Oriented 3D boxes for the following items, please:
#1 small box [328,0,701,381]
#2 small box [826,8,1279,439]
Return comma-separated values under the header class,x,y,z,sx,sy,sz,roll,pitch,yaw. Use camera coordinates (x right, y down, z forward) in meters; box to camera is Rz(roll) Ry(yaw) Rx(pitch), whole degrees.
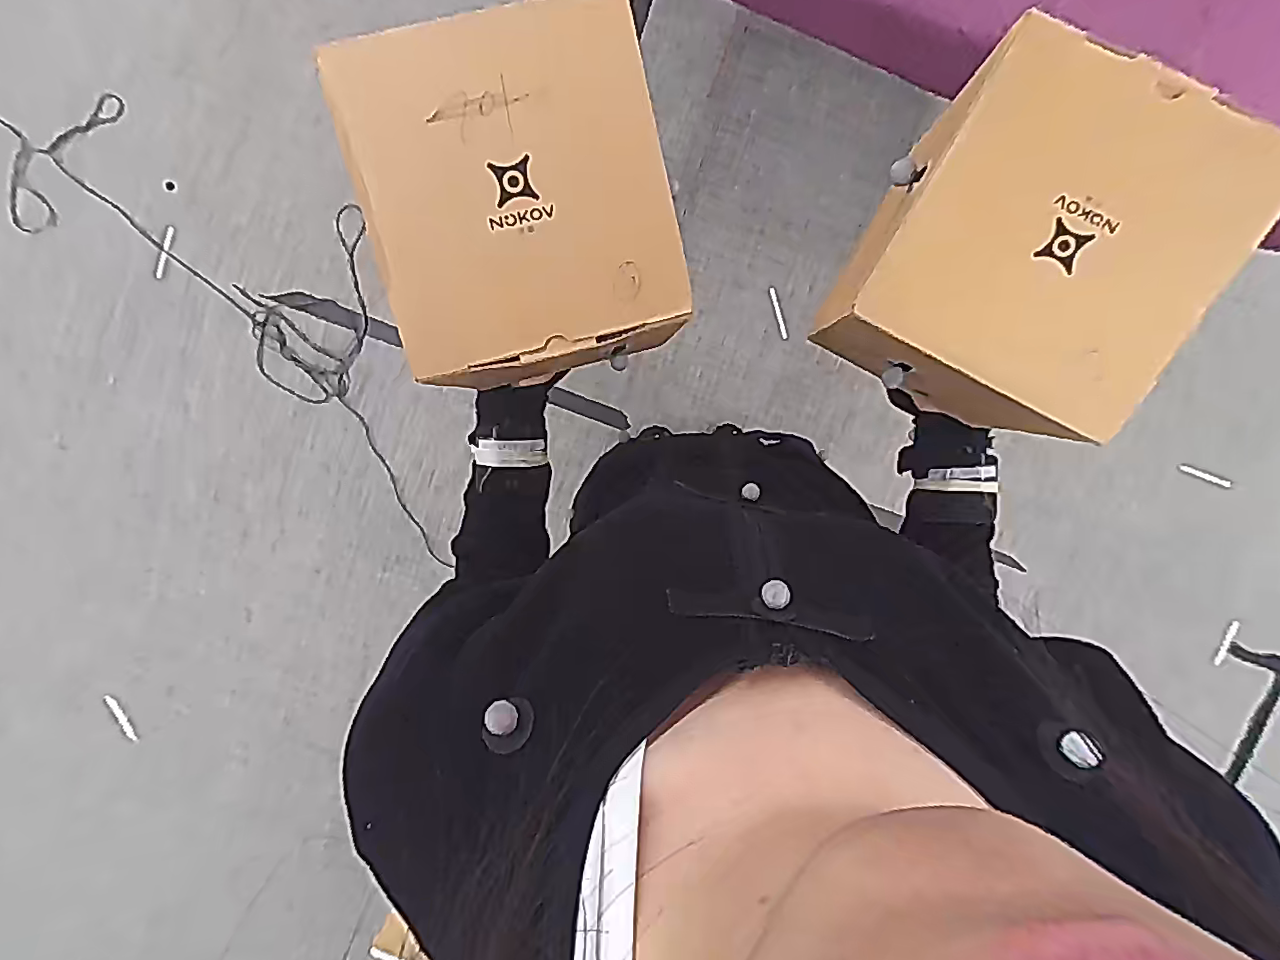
class,x,y,z,sx,sy,sz,roll,pitch,yaw
small box,-0.067,-0.170,0.370,0.168,0.176,0.179,-15,98,-3
small box,0.250,-0.147,0.374,0.168,0.176,0.179,29,101,3
